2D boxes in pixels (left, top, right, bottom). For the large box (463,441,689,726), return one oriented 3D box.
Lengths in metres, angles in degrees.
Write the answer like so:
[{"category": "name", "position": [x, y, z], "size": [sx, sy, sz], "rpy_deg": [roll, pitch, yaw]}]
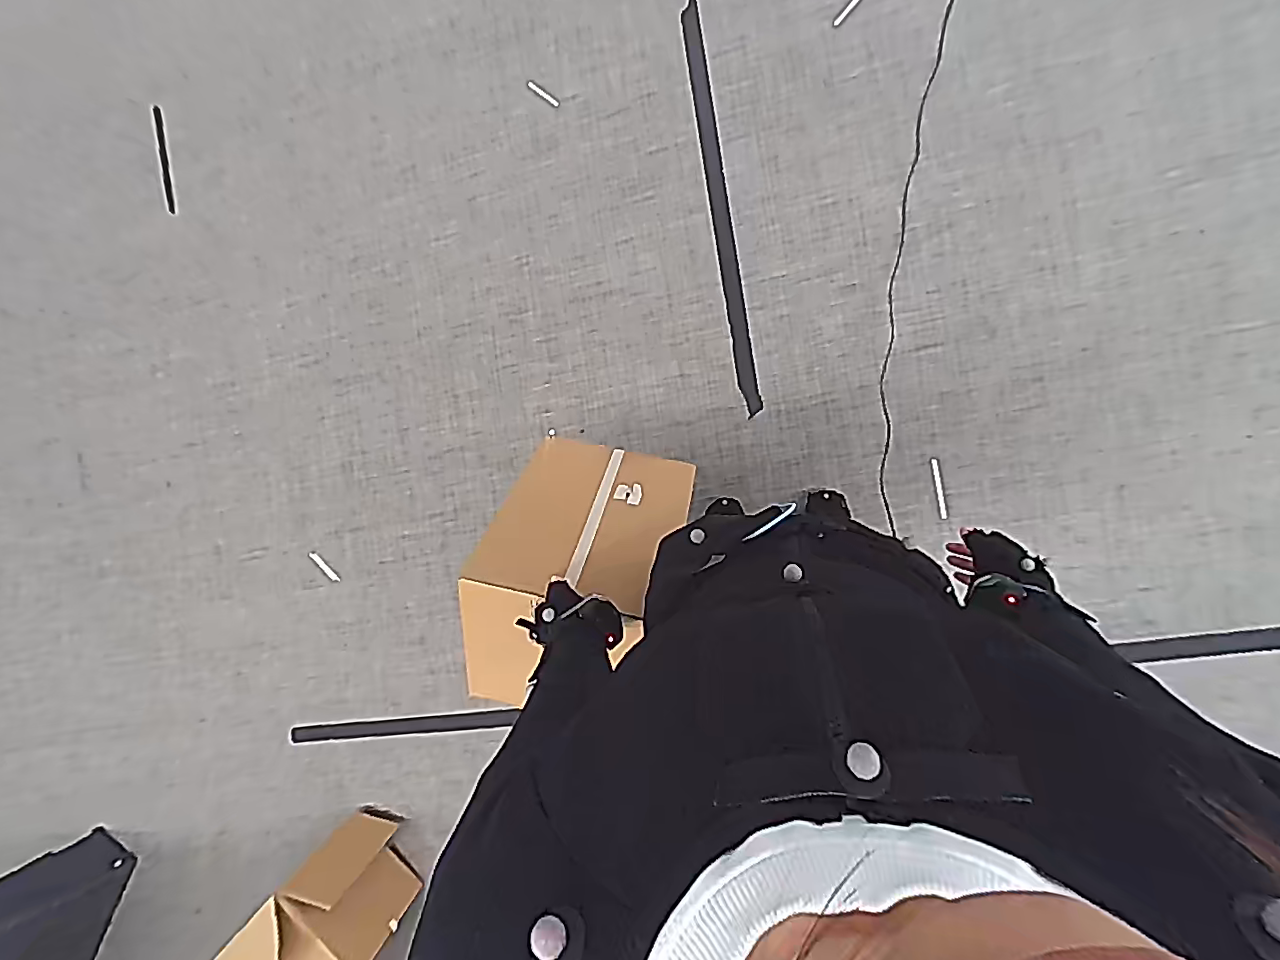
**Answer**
[{"category": "large box", "position": [-0.100, 0.181, 1.030], "size": [0.320, 0.408, 0.320], "rpy_deg": [13, 126, 4]}]
